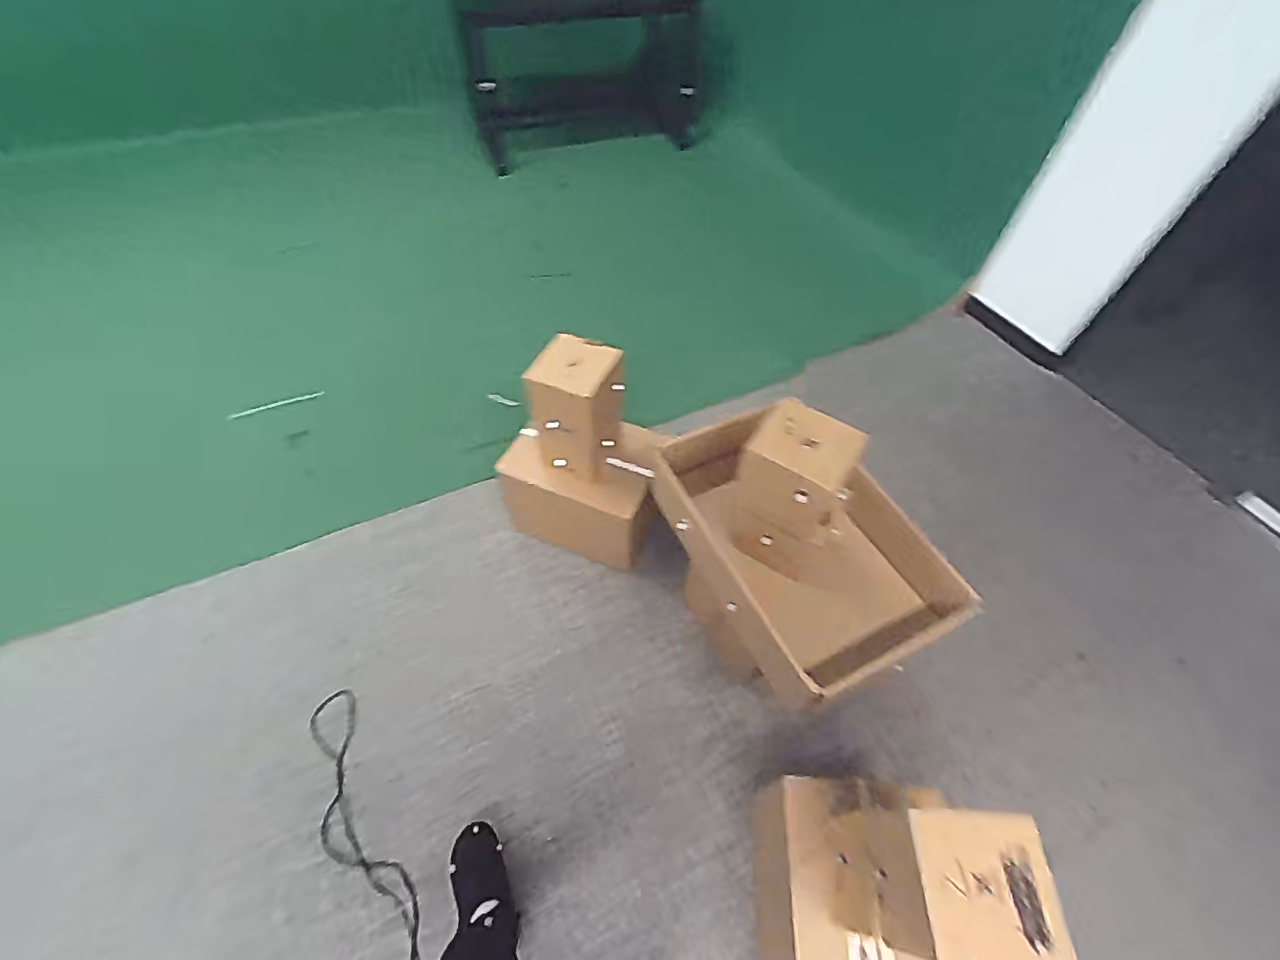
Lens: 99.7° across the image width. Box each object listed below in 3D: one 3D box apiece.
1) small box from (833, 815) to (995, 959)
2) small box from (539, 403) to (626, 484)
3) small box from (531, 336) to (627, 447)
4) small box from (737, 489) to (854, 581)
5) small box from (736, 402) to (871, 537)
[{"bbox_3d":[0.434,0.667,0.889,0.179,0.176,0.168,9,54,3],"label":"small box"},{"bbox_3d":[-0.151,-0.122,1.449,0.168,0.176,0.179,24,56,15],"label":"small box"},{"bbox_3d":[-0.144,-0.214,1.315,0.168,0.176,0.179,21,55,14],"label":"small box"},{"bbox_3d":[0.330,0.092,1.179,0.179,0.176,0.168,29,59,19],"label":"small box"},{"bbox_3d":[0.311,-0.014,1.052,0.179,0.176,0.168,30,57,20],"label":"small box"}]
